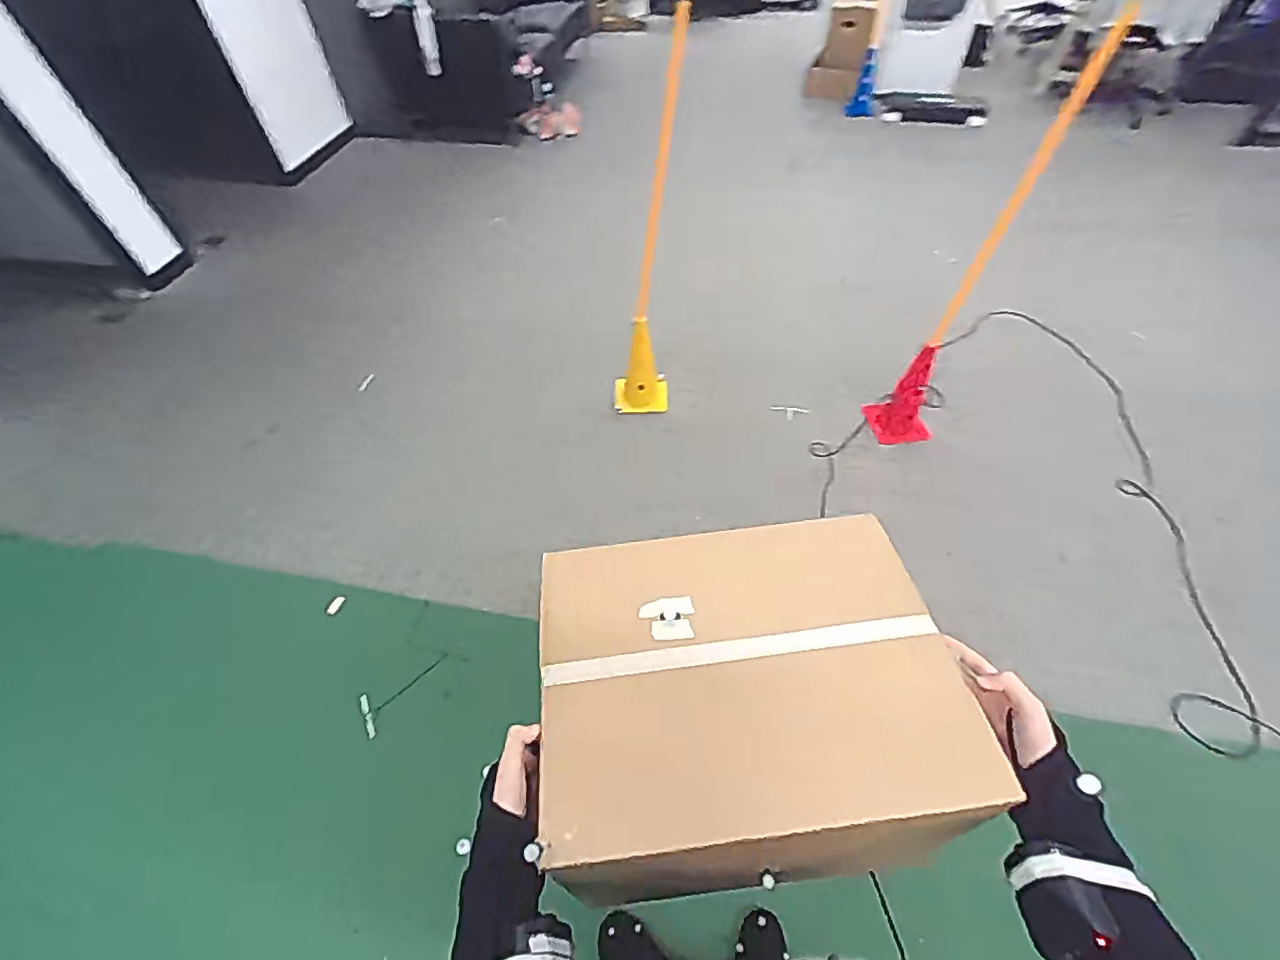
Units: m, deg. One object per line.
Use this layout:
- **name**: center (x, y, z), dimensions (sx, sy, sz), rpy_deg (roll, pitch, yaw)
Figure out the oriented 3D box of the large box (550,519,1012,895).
- **large box**: center (0.118, 0.282, 0.662), dimensions (0.408, 0.320, 0.320), rpy_deg (-7, 47, -1)
